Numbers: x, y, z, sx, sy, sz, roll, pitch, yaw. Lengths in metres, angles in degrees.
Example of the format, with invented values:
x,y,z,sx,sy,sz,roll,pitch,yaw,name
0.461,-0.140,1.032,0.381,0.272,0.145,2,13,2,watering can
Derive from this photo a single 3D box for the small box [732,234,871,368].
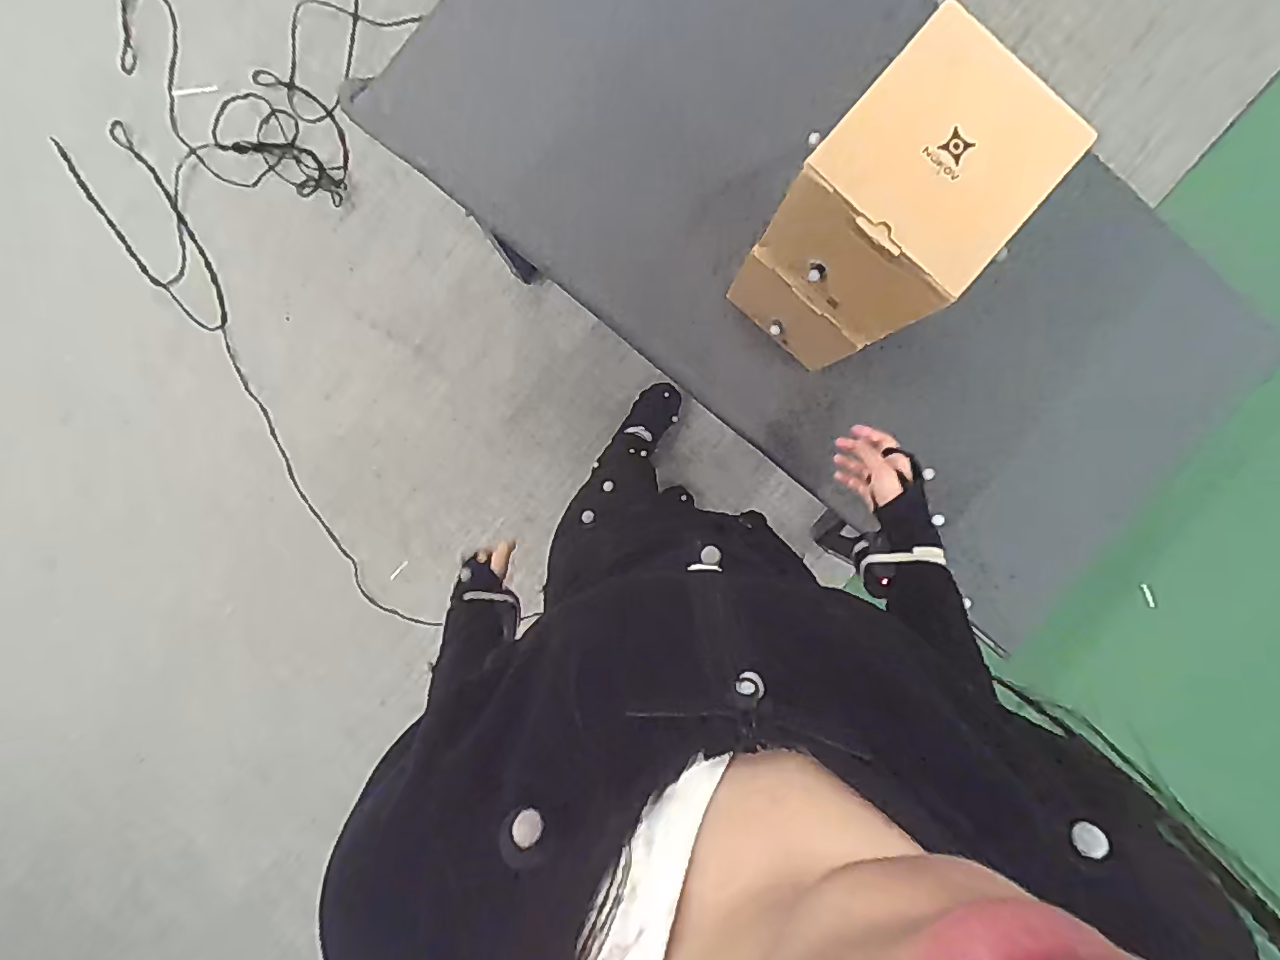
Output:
x,y,z,sx,sy,sz,roll,pitch,yaw,name
0.236,-0.265,0.672,0.168,0.176,0.179,41,91,-2,small box

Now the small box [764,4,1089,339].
x,y,z,sx,sy,sz,roll,pitch,yaw,name
0.244,-0.263,0.510,0.168,0.176,0.179,40,91,-3,small box
